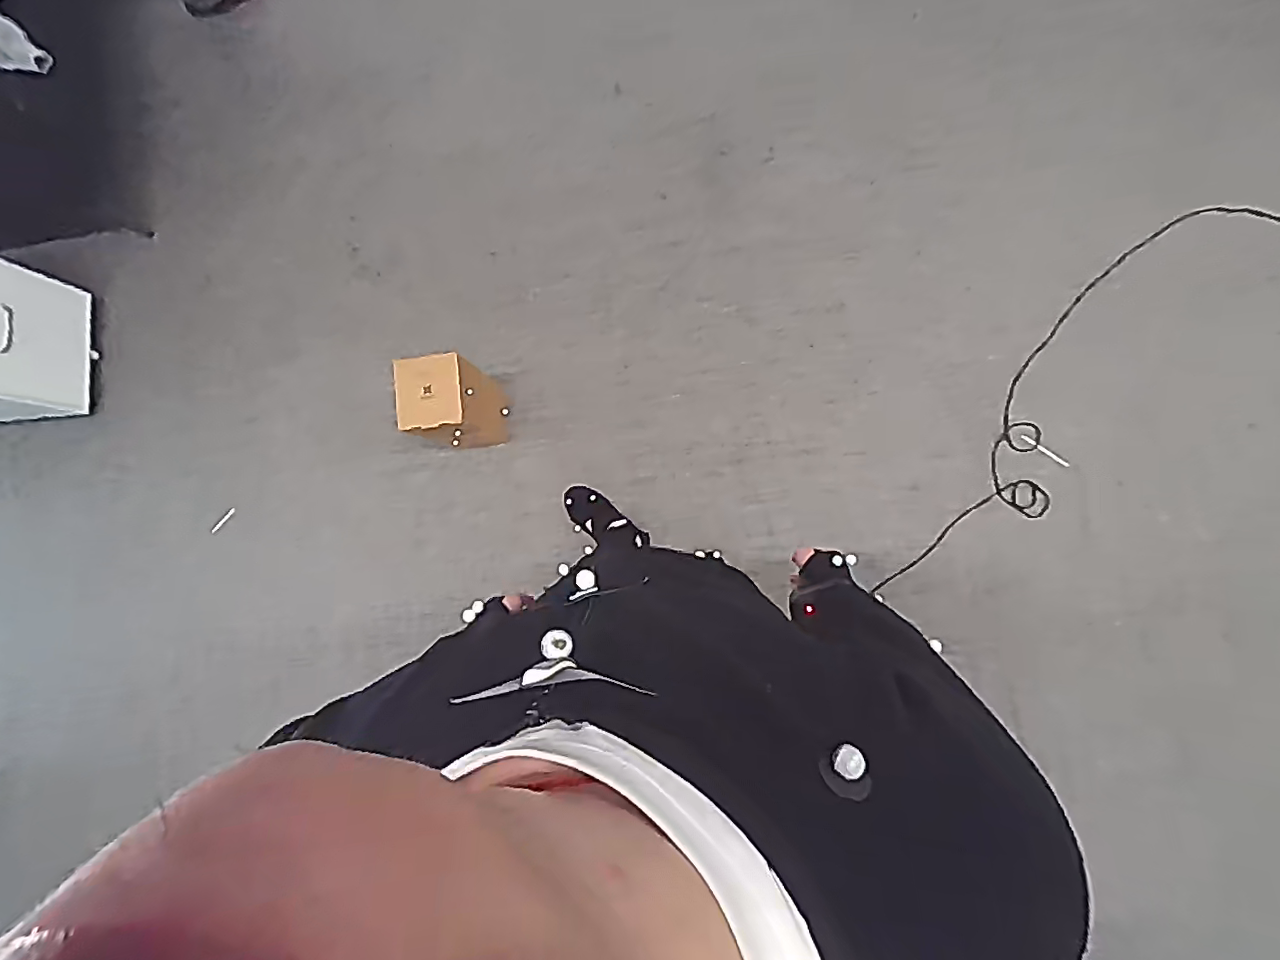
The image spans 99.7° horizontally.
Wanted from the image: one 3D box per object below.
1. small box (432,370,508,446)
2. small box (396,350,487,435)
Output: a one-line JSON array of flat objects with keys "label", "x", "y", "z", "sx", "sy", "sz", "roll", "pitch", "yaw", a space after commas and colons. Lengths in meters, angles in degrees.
[{"label": "small box", "x": -0.487, "y": -0.202, "z": 1.555, "sx": 0.168, "sy": 0.176, "sz": 0.179, "roll": -5, "pitch": 84, "yaw": 6}, {"label": "small box", "x": -0.505, "y": -0.217, "z": 1.395, "sx": 0.168, "sy": 0.176, "sz": 0.179, "roll": -7, "pitch": 83, "yaw": 5}]
